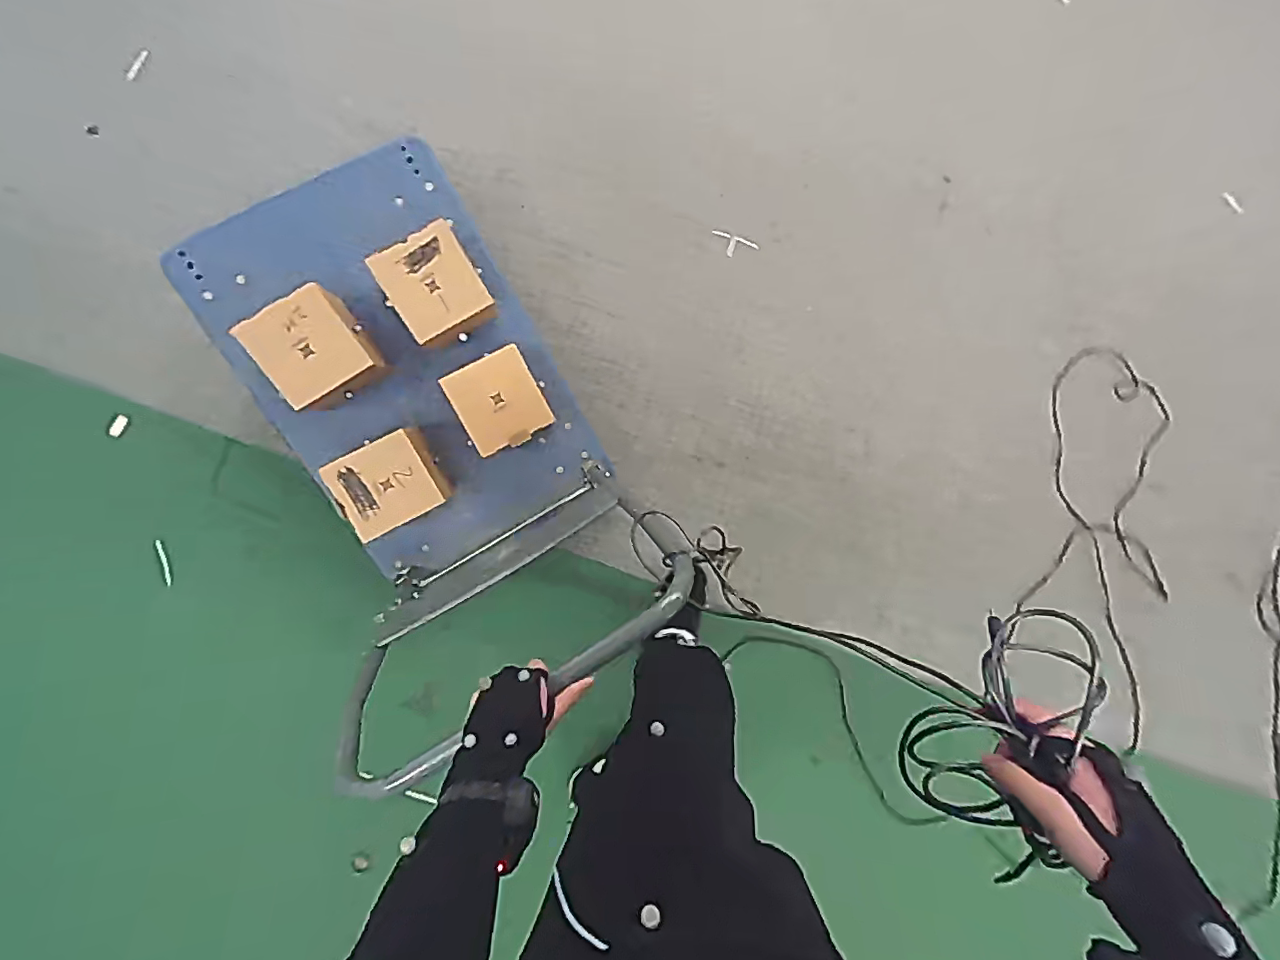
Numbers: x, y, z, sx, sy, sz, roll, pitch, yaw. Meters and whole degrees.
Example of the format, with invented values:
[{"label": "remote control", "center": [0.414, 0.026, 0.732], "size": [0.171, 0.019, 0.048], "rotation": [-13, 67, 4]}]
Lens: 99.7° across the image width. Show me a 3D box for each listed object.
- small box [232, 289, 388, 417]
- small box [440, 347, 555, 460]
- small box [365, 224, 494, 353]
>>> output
[{"label": "small box", "center": [-0.627, -0.241, 1.058], "size": [0.168, 0.176, 0.179], "rotation": [-35, 103, -7]}, {"label": "small box", "center": [-0.298, -0.159, 1.144], "size": [0.168, 0.176, 0.179], "rotation": [-29, 103, -8]}, {"label": "small box", "center": [-0.411, -0.373, 1.089], "size": [0.168, 0.176, 0.179], "rotation": [-33, 104, -6]}]
